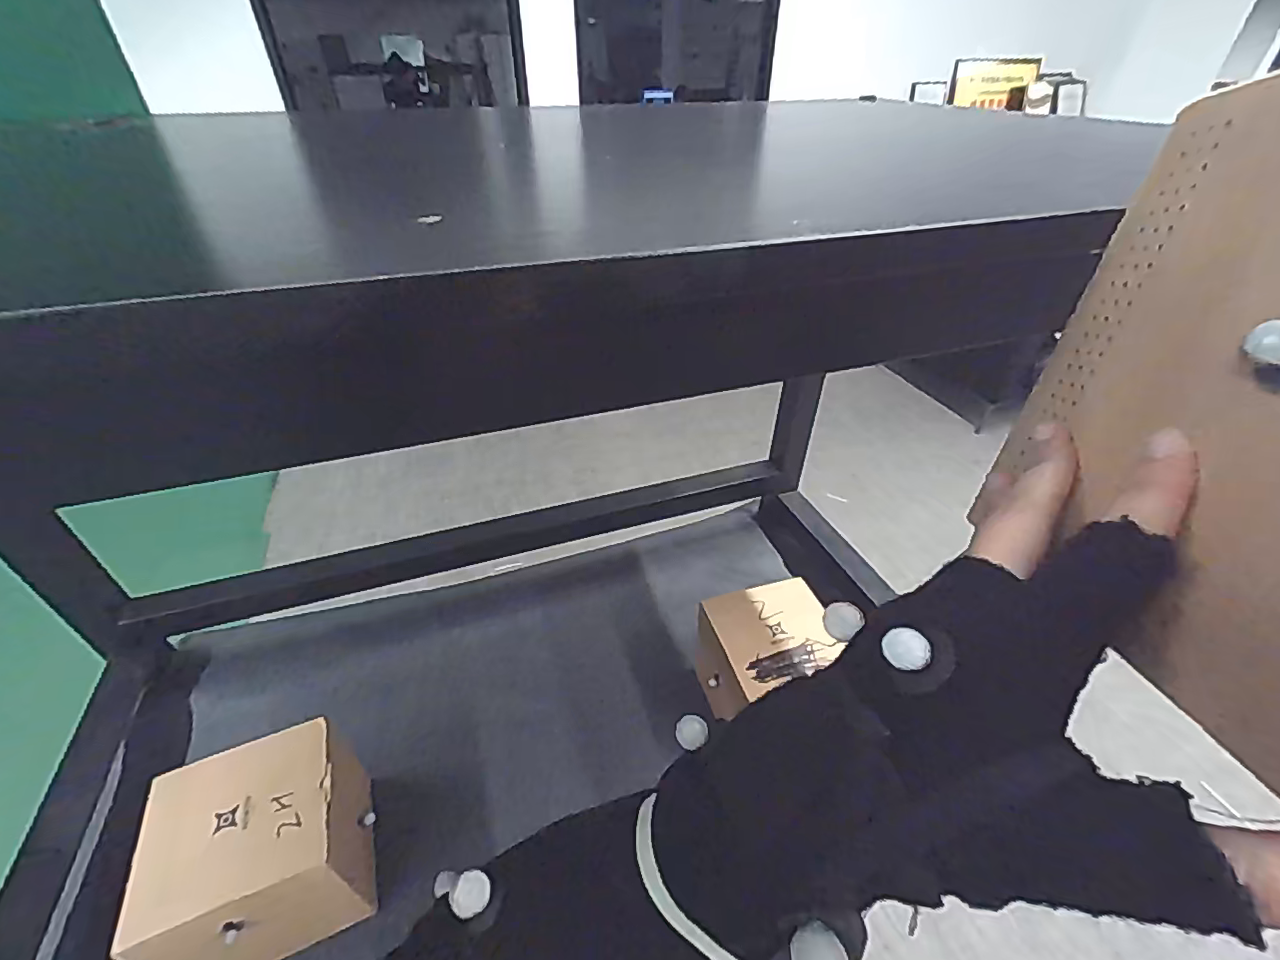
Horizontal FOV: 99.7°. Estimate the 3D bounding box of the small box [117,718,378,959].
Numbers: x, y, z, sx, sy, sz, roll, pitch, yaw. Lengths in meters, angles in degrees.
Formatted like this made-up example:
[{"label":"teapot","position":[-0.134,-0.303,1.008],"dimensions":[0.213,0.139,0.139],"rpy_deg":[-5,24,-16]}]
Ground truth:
[{"label":"small box","position":[-0.416,0.414,0.611],"dimensions":[0.179,0.176,0.168],"rpy_deg":[-15,40,-19]}]
